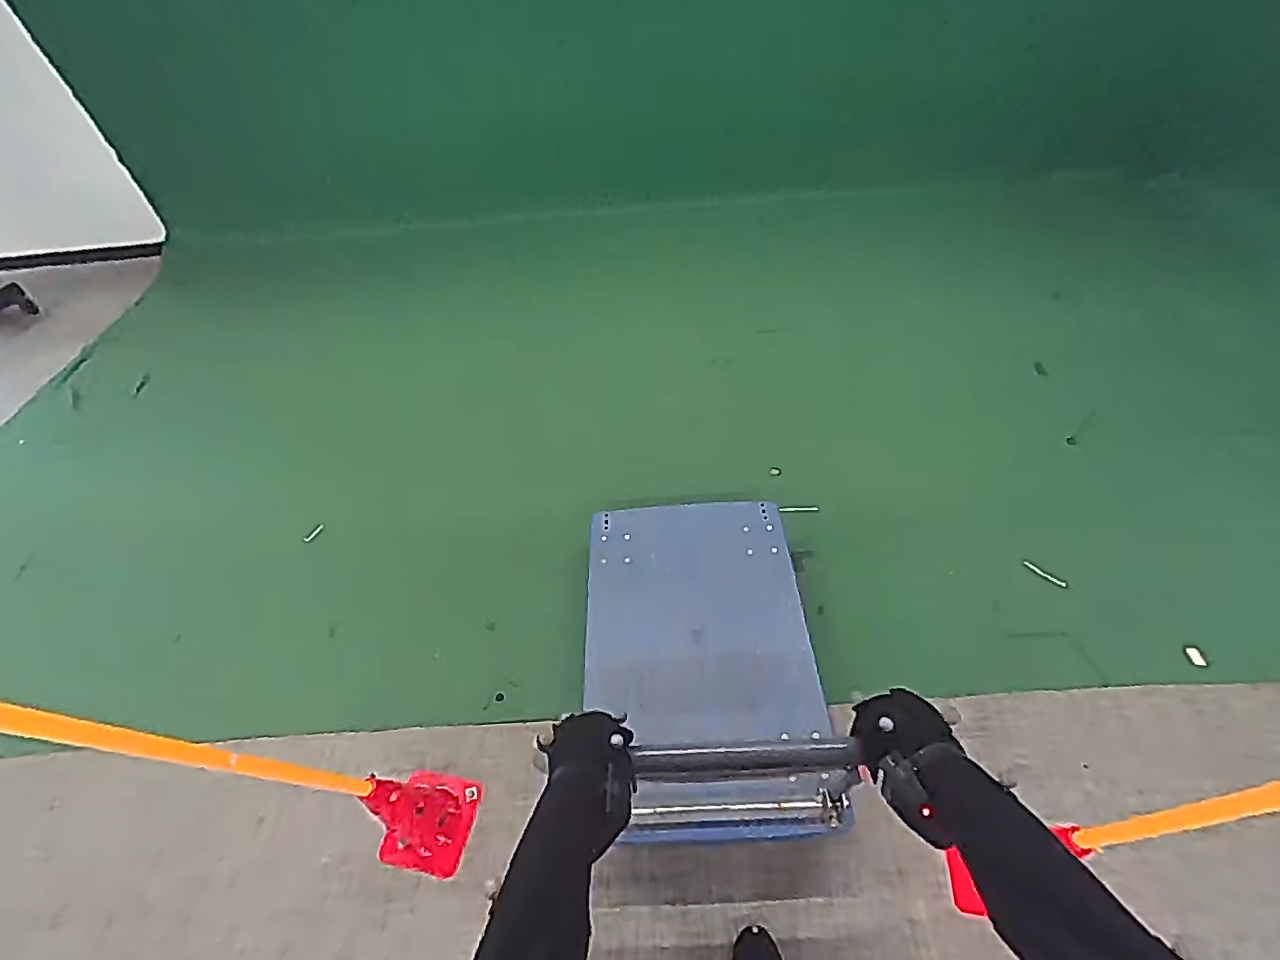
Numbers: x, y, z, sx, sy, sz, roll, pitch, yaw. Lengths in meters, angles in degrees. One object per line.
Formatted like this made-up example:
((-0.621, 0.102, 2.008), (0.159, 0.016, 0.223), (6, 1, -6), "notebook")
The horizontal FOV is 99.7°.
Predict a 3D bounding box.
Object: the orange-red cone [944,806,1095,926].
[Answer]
((0.769, 0.725, 1.052), (0.198, 0.360, 0.199), (4, 50, 9), "orange-red cone")
